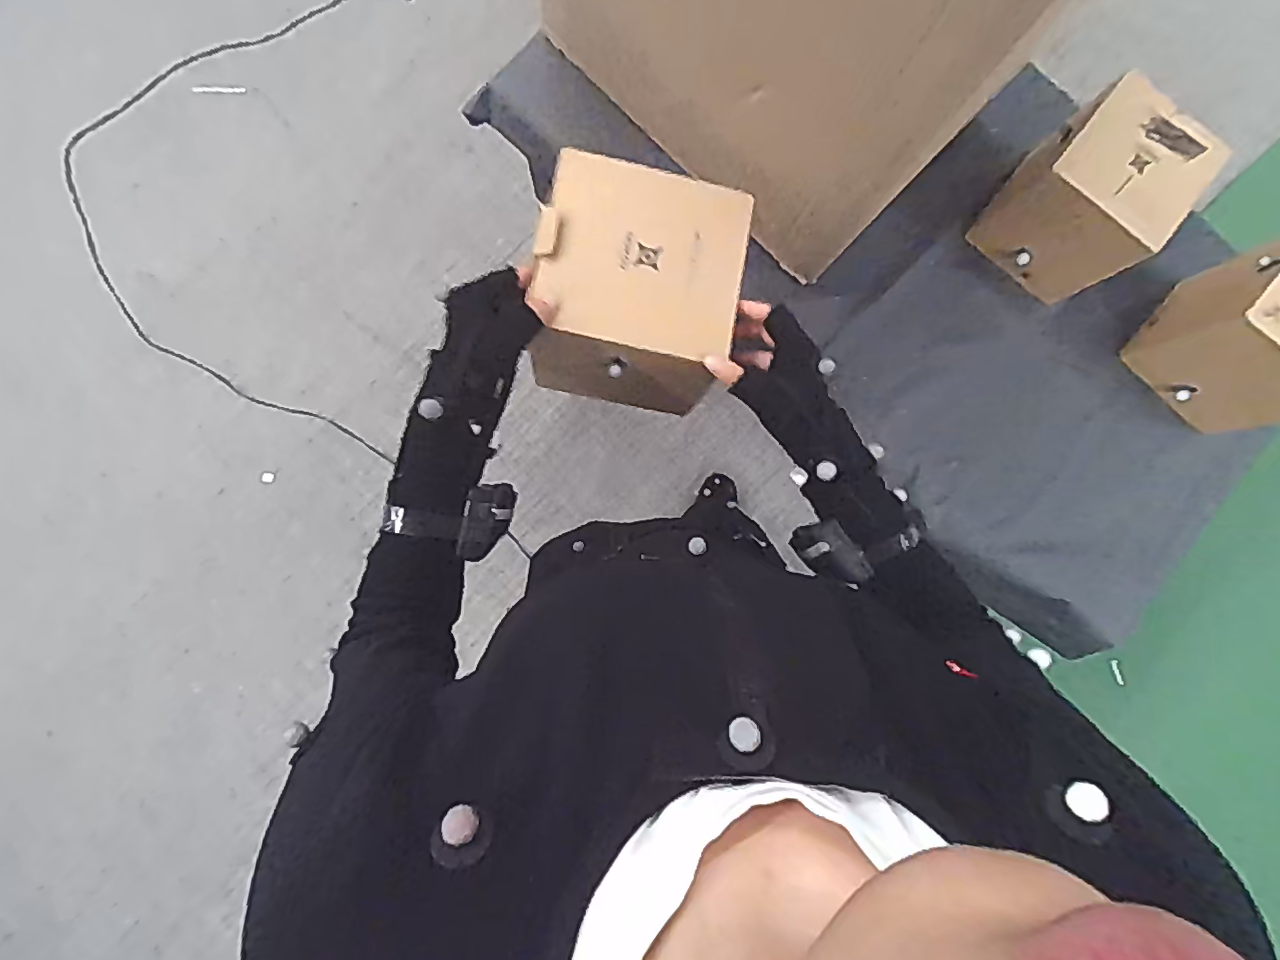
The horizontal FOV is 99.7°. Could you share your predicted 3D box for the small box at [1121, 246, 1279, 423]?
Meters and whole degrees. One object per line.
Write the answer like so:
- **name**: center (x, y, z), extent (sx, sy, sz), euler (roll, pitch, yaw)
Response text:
- **small box**: center (0.839, -0.194, 0.741), extent (0.179, 0.176, 0.168), euler (43, 84, 0)
